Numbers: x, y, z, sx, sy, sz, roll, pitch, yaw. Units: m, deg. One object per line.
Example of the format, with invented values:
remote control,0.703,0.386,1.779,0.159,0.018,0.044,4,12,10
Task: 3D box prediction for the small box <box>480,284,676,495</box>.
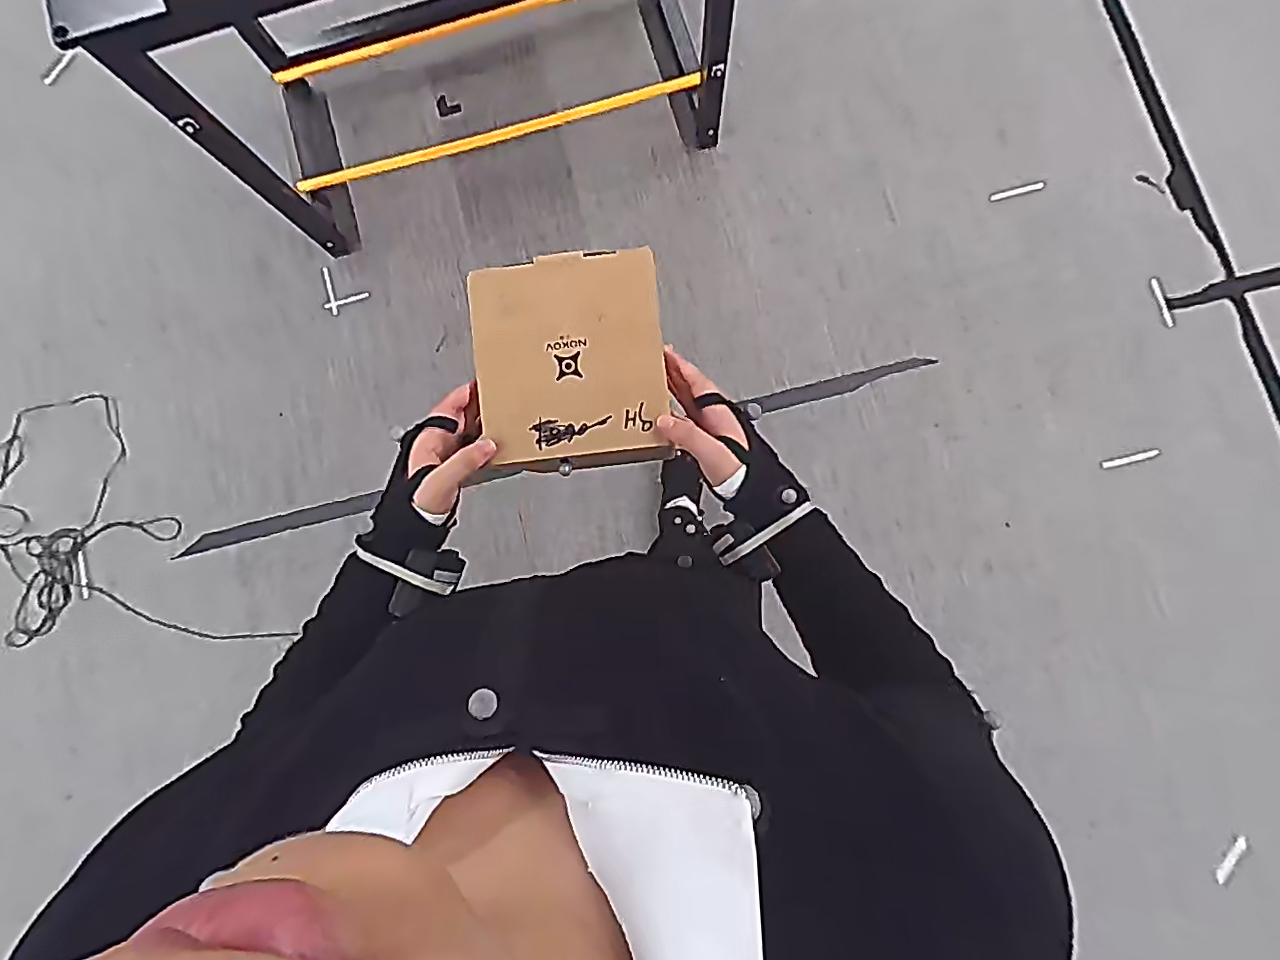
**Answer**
small box,-0.053,-0.079,0.561,0.168,0.176,0.179,-6,88,3
